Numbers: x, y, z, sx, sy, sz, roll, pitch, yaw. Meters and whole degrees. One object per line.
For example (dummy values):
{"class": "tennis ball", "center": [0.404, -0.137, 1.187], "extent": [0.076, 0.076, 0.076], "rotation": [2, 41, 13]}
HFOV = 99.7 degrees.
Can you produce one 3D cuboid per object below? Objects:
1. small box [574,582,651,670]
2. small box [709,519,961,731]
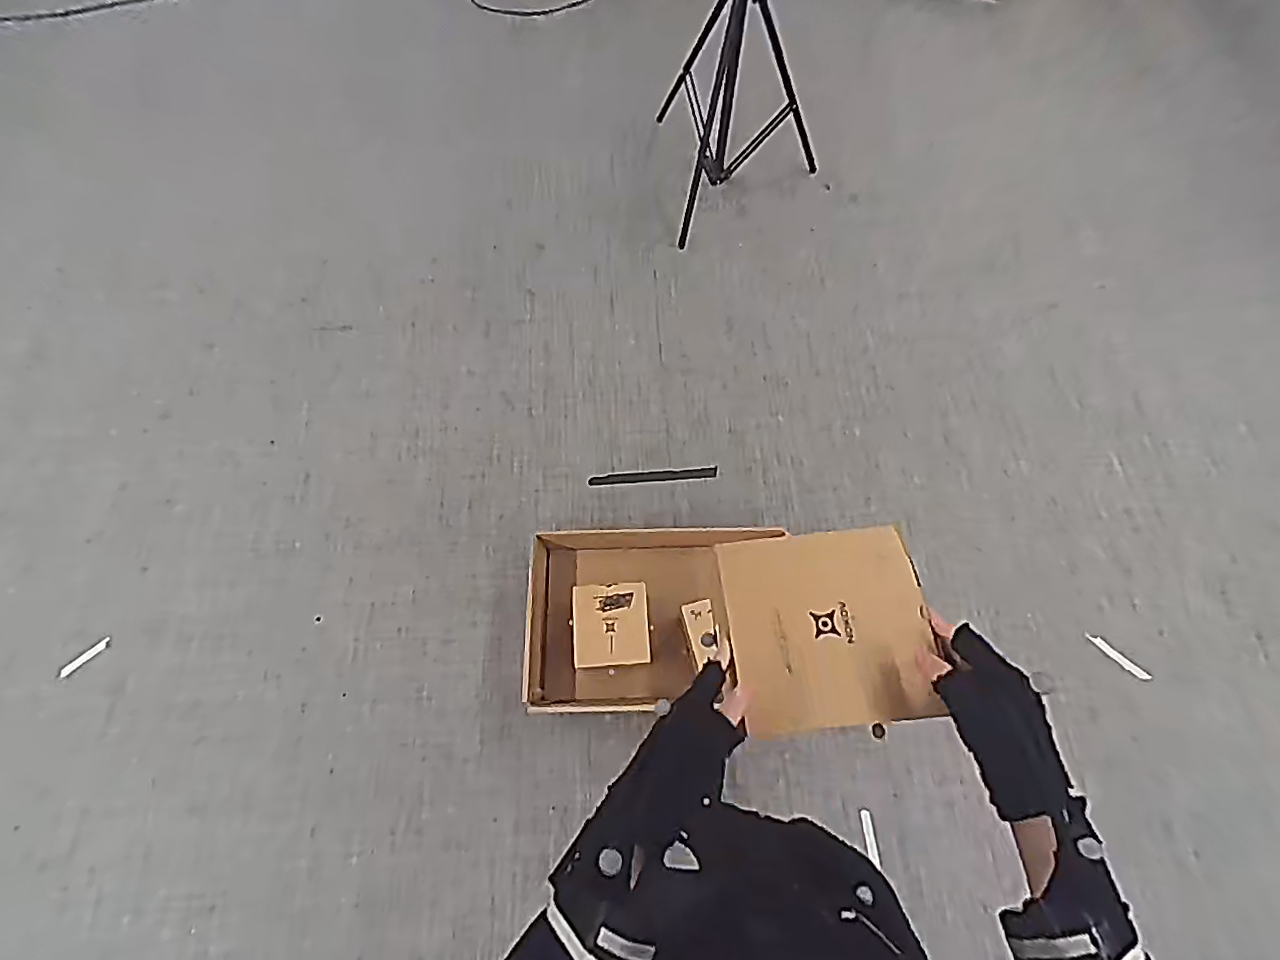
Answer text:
{"class": "small box", "center": [-0.064, 0.343, 1.256], "extent": [0.168, 0.176, 0.179], "rotation": [-3, 70, -1]}
{"class": "small box", "center": [0.171, 0.150, 0.540], "extent": [0.179, 0.176, 0.168], "rotation": [-7, 66, 1]}
